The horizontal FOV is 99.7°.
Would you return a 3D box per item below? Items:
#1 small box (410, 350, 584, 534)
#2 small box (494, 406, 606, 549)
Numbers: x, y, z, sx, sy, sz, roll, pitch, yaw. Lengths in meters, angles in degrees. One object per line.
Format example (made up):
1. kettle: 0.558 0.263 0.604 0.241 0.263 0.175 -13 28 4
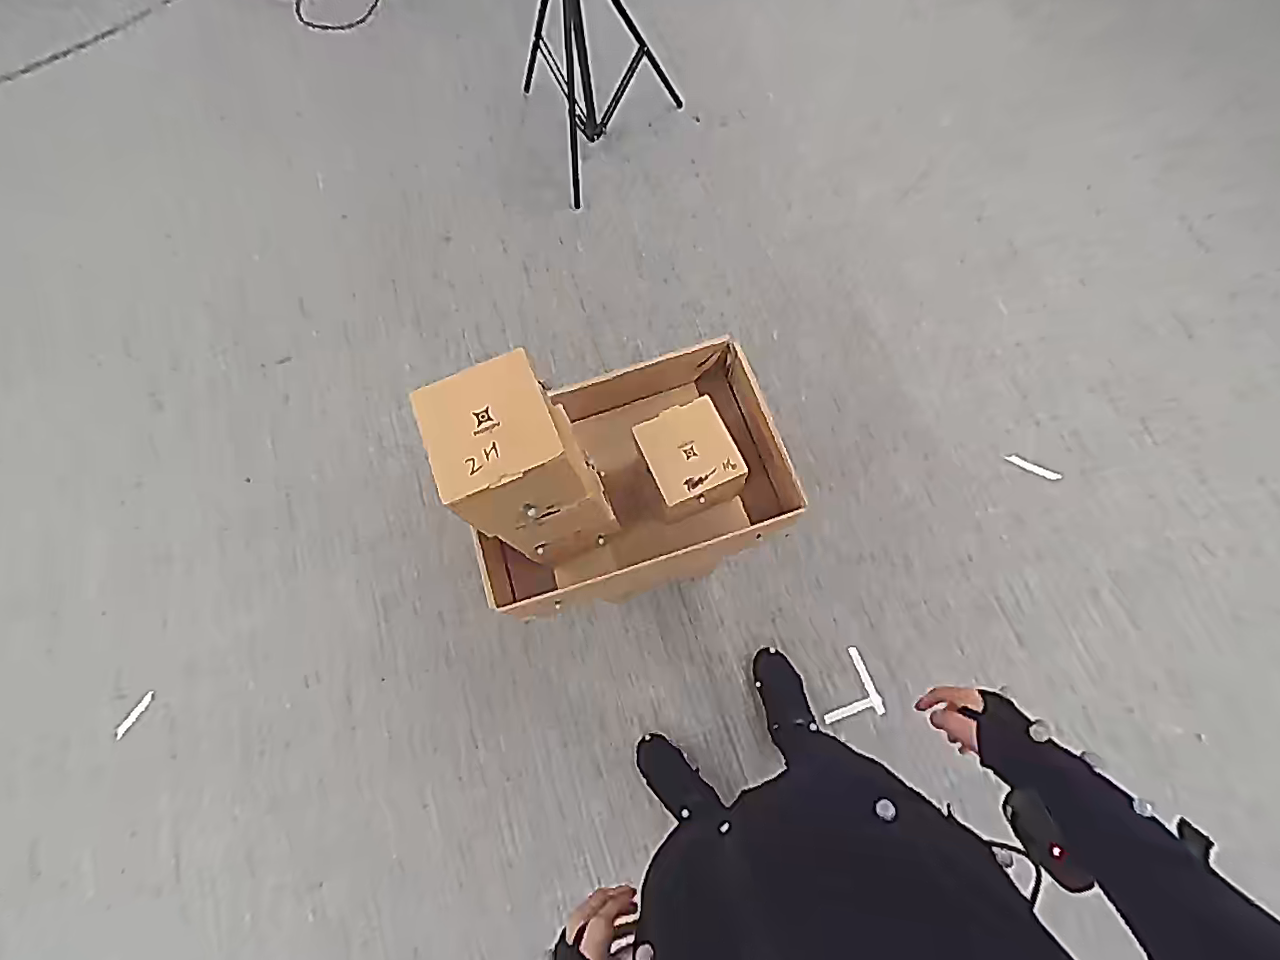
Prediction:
1. small box: -0.193 -0.045 0.768 0.168 0.176 0.179 -24 71 -3
2. small box: -0.167 0.007 0.923 0.168 0.176 0.179 -22 71 -3
